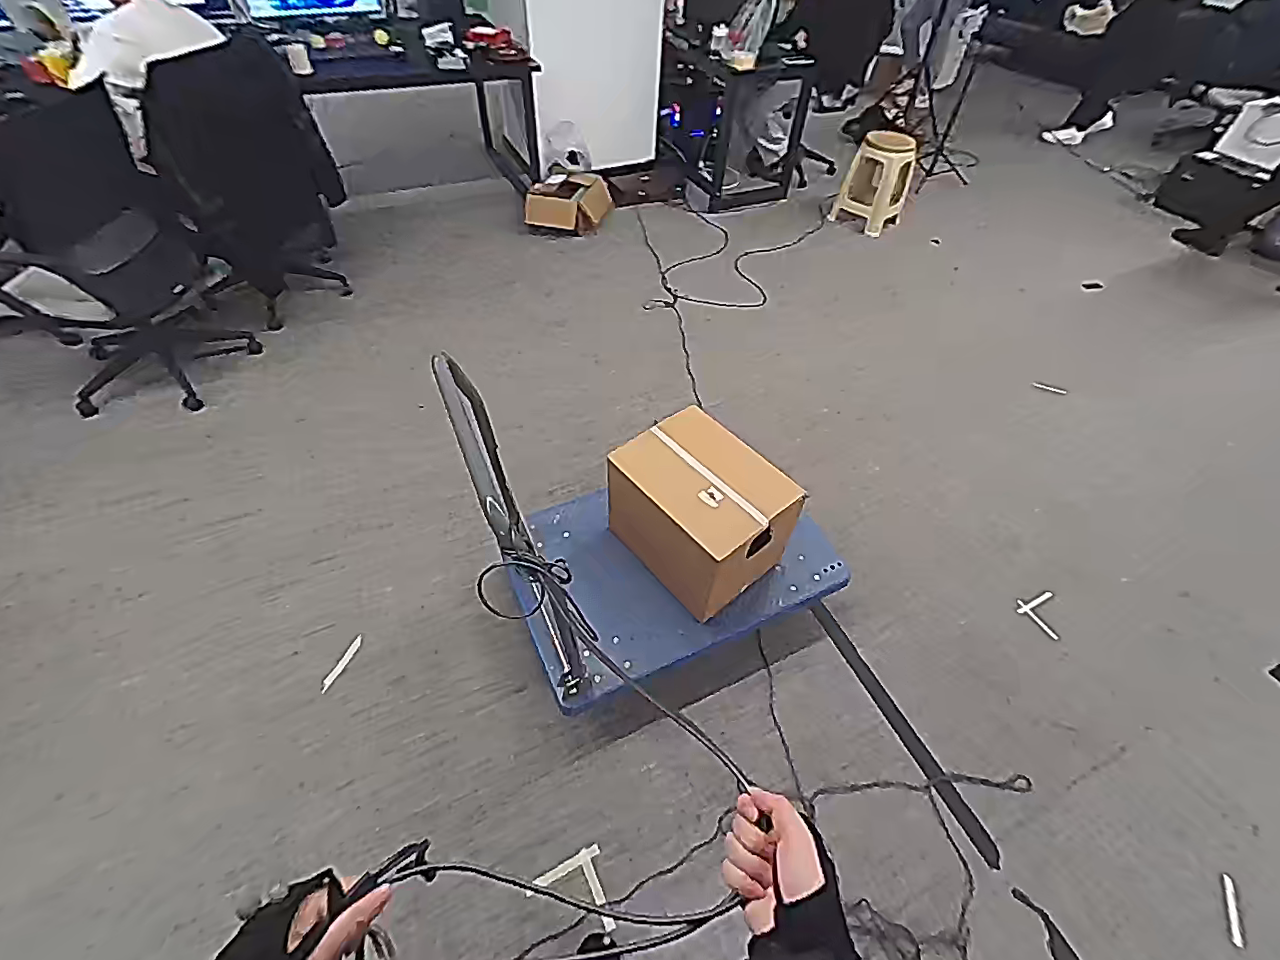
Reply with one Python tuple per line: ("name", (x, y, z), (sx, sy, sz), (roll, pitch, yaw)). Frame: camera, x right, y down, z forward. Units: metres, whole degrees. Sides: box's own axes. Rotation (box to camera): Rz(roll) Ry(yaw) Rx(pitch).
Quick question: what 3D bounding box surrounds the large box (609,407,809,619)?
("large box", (0.156, 0.081, 1.438), (0.320, 0.320, 0.408), (-32, 59, -25))
